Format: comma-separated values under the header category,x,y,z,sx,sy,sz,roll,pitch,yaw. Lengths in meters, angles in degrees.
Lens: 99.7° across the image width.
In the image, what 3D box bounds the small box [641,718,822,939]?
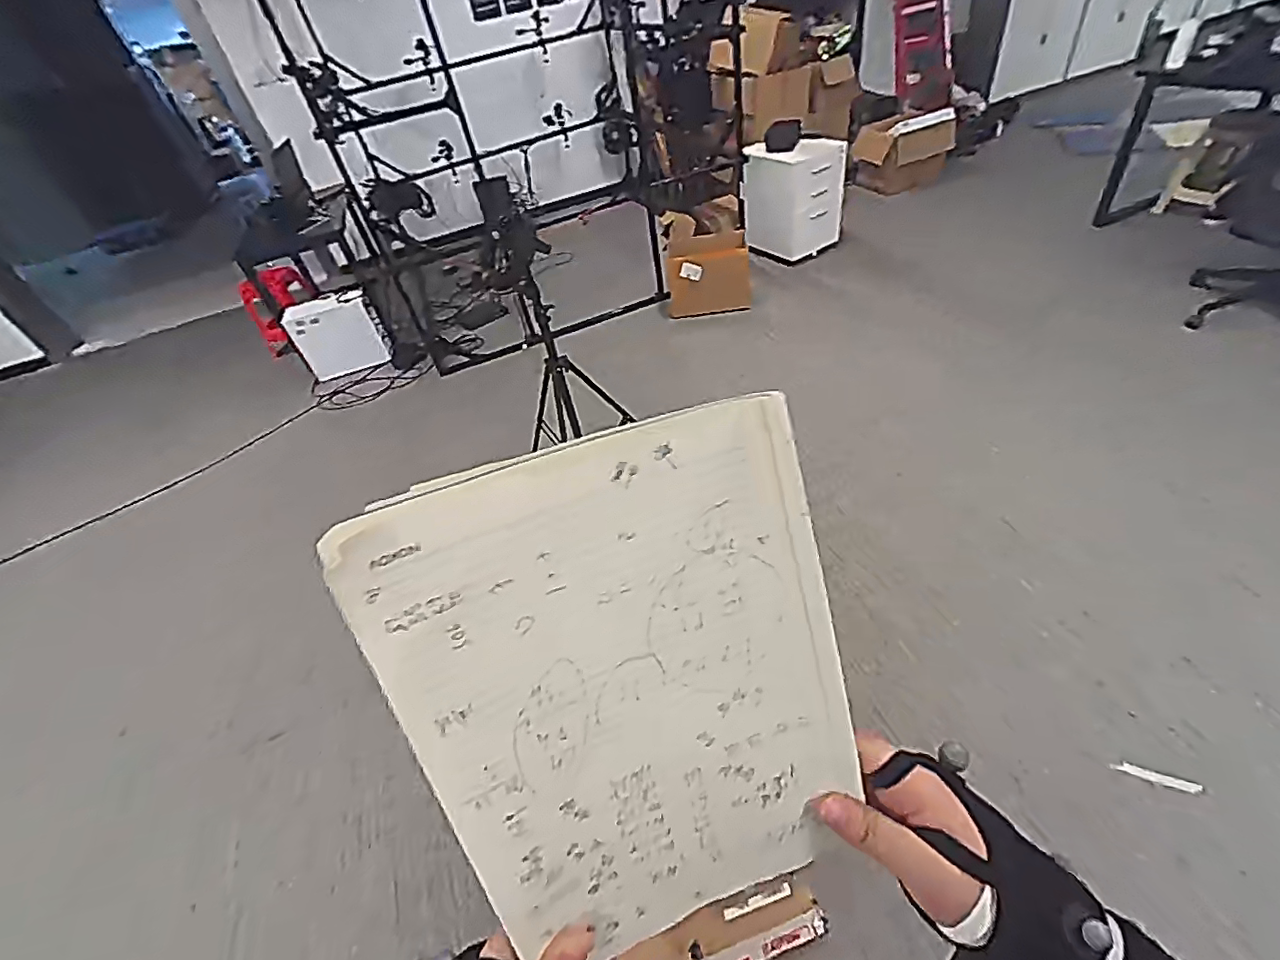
category,x,y,z,sx,sy,sz,roll,pitch,yaw
small box,0.105,0.441,0.686,0.168,0.176,0.179,-15,45,-6
